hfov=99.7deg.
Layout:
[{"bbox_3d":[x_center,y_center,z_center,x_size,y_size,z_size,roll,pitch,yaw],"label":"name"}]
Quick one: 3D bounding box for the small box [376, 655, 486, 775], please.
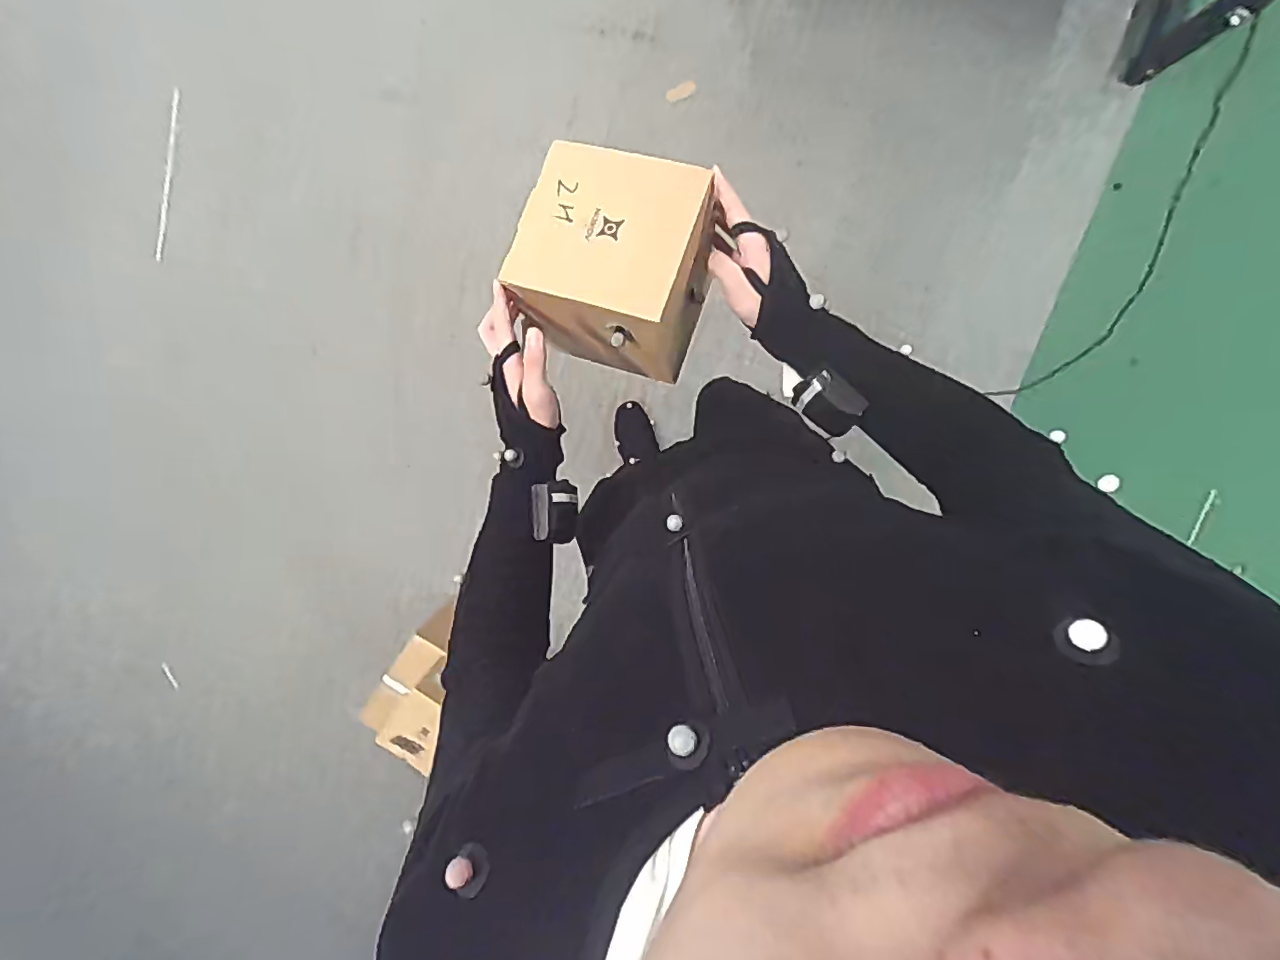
[{"bbox_3d":[-0.512,0.581,1.355,0.168,0.176,0.179,36,97,-4],"label":"small box"}]
